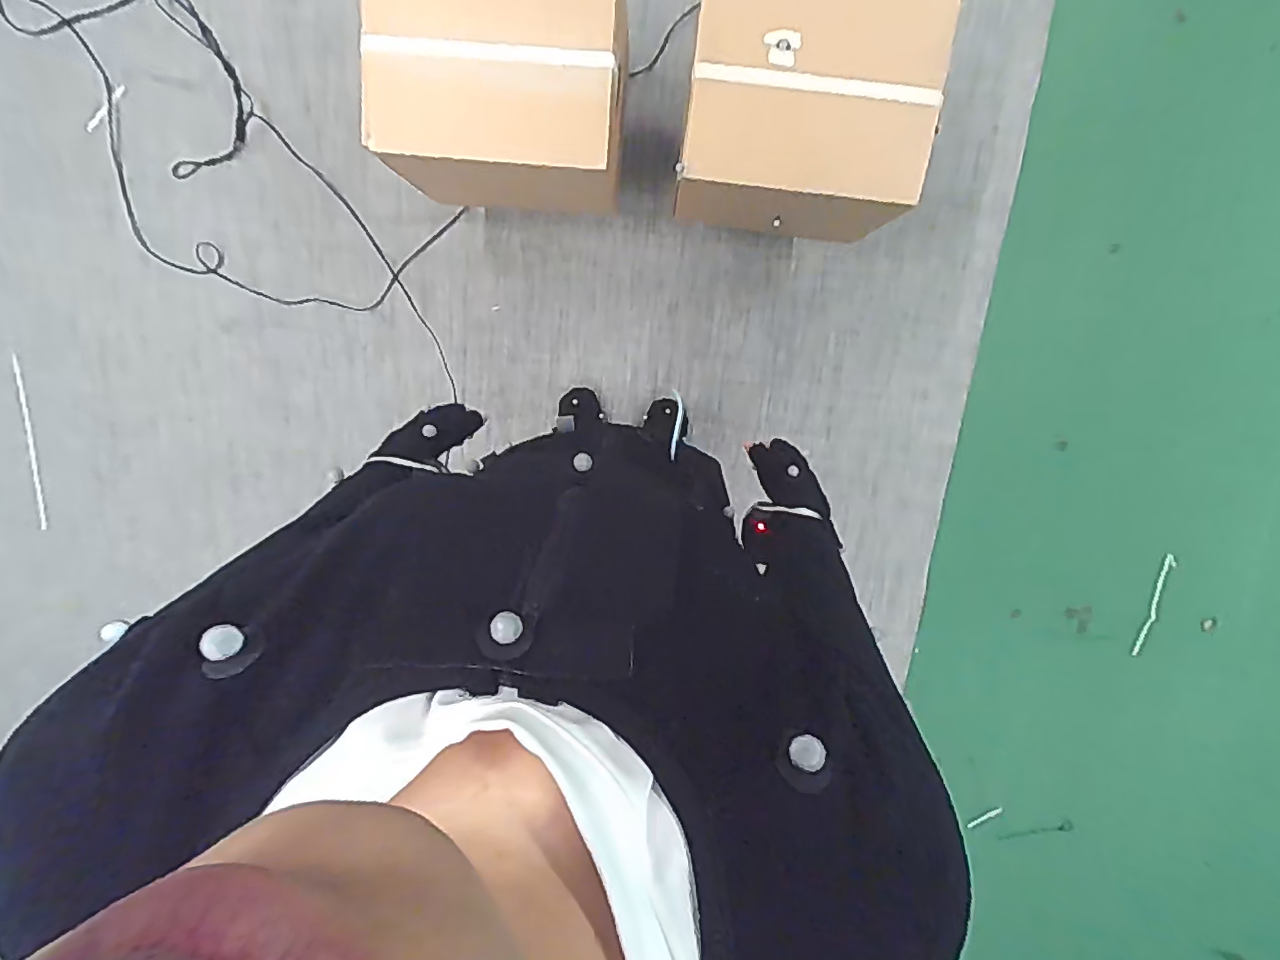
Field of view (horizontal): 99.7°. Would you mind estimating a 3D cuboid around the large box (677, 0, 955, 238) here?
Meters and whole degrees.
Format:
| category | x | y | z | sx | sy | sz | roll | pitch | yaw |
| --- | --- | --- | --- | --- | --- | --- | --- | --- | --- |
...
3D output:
| category | x | y | z | sx | sy | sz | roll | pitch | yaw |
| --- | --- | --- | --- | --- | --- | --- | --- | --- | --- |
| large box | 0.293 | -0.671 | 1.033 | 0.408 | 0.320 | 0.320 | 7 | 102 | 0 |
